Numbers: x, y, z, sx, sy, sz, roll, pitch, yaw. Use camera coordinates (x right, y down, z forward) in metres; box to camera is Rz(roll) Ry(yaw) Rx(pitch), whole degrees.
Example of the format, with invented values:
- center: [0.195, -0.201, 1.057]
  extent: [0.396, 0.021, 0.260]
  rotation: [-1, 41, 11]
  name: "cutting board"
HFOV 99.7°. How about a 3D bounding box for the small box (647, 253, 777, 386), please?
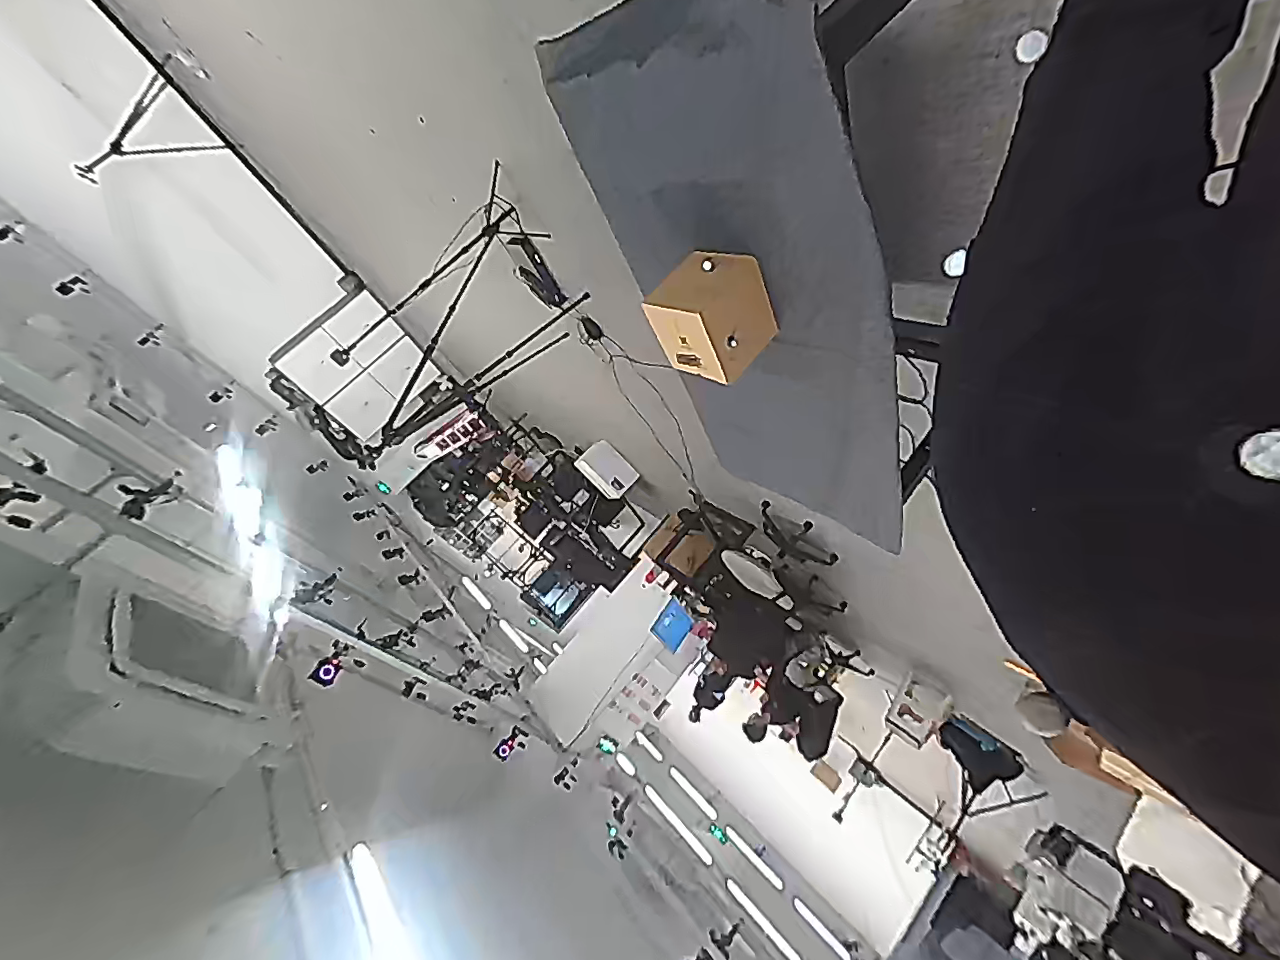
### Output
- center: [0.151, -0.324, 1.086]
  extent: [0.168, 0.176, 0.179]
  rotation: [29, 161, 44]
  name: "small box"
